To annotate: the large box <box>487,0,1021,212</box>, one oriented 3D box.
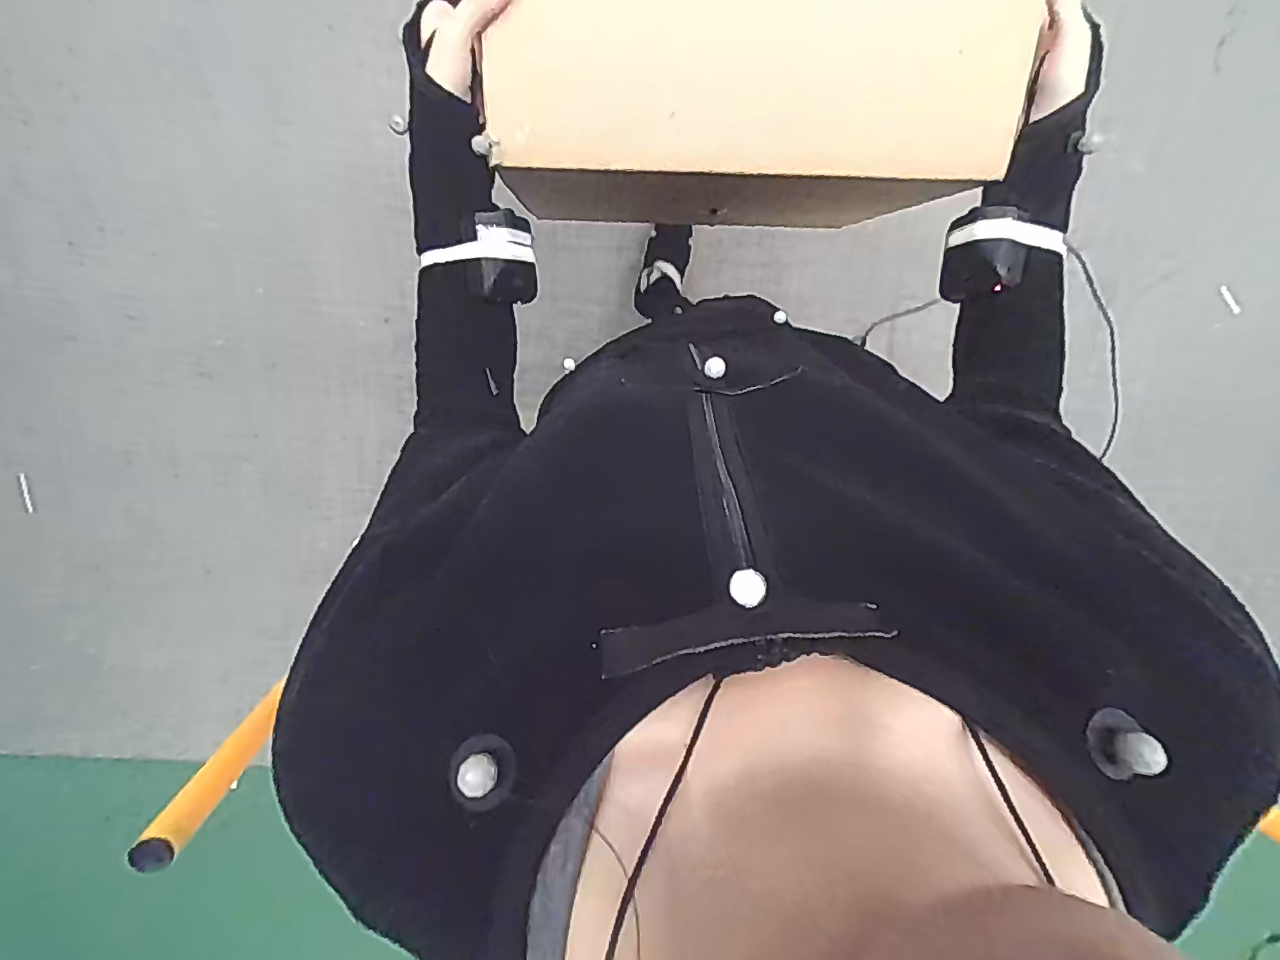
[{"bbox_3d":[0.082,-0.445,0.520,0.408,0.320,0.320,-1,108,-3],"label":"large box"}]
